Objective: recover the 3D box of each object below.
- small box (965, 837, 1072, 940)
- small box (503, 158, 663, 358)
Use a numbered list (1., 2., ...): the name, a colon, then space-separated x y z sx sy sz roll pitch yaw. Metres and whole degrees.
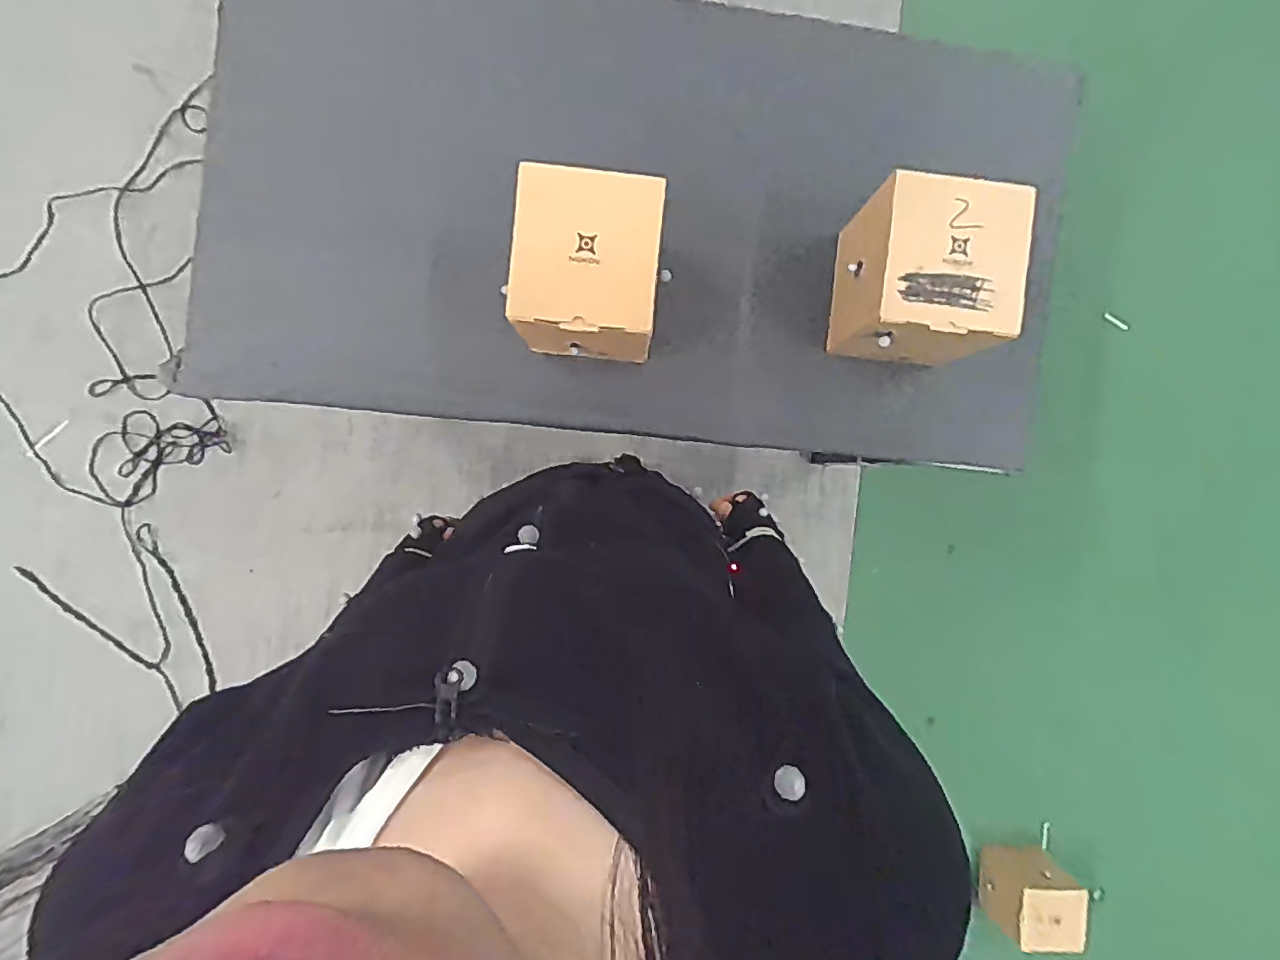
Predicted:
1. small box: 1.049 1.133 1.509 0.179 0.176 0.168 3 92 -3
2. small box: -0.068 -0.263 0.680 0.168 0.176 0.179 5 92 -3
